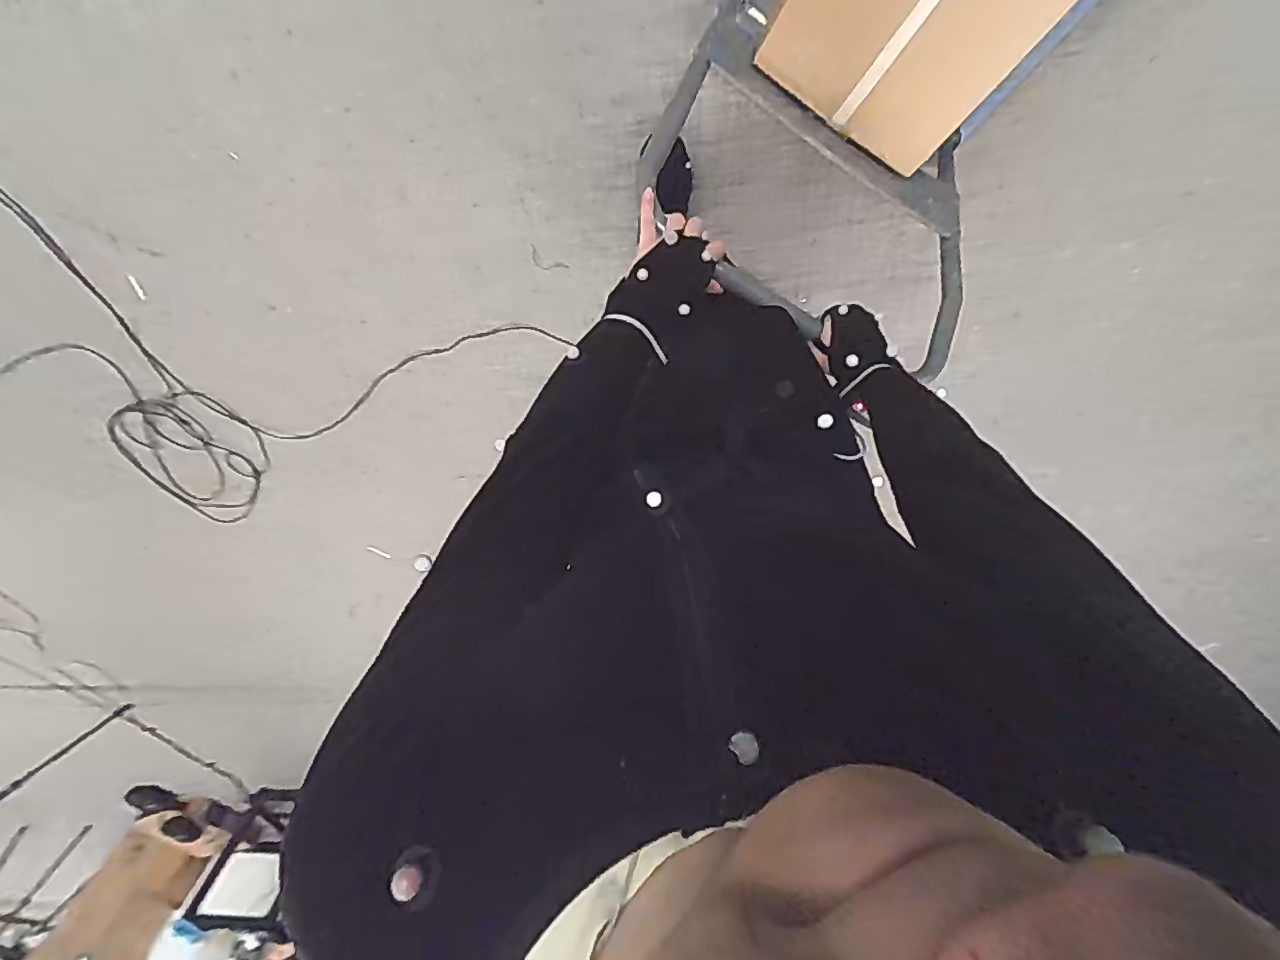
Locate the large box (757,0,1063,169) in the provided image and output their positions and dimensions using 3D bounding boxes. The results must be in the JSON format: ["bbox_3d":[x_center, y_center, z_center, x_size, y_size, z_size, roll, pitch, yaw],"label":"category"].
[{"bbox_3d":[0.423,-0.773,0.777,0.320,0.320,0.408,26,144,-14],"label":"large box"}]
